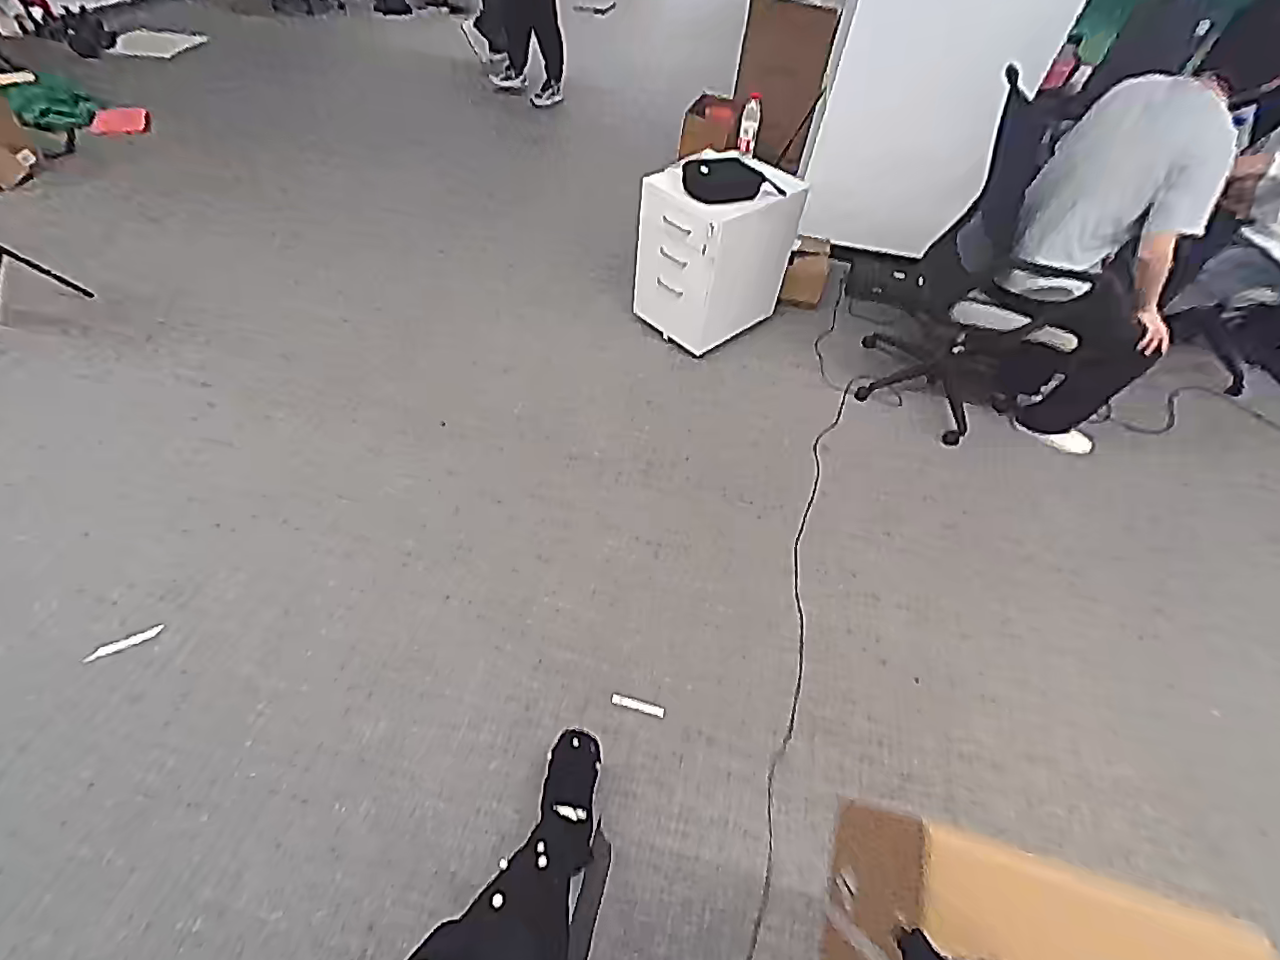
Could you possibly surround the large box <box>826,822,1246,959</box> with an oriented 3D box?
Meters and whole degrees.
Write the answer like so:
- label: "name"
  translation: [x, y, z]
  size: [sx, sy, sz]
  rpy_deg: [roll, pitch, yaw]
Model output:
- label: "large box"
  translation: [0.430, 0.651, 0.652]
  size: [0.320, 0.408, 0.320]
  rpy_deg: [15, 64, 16]
